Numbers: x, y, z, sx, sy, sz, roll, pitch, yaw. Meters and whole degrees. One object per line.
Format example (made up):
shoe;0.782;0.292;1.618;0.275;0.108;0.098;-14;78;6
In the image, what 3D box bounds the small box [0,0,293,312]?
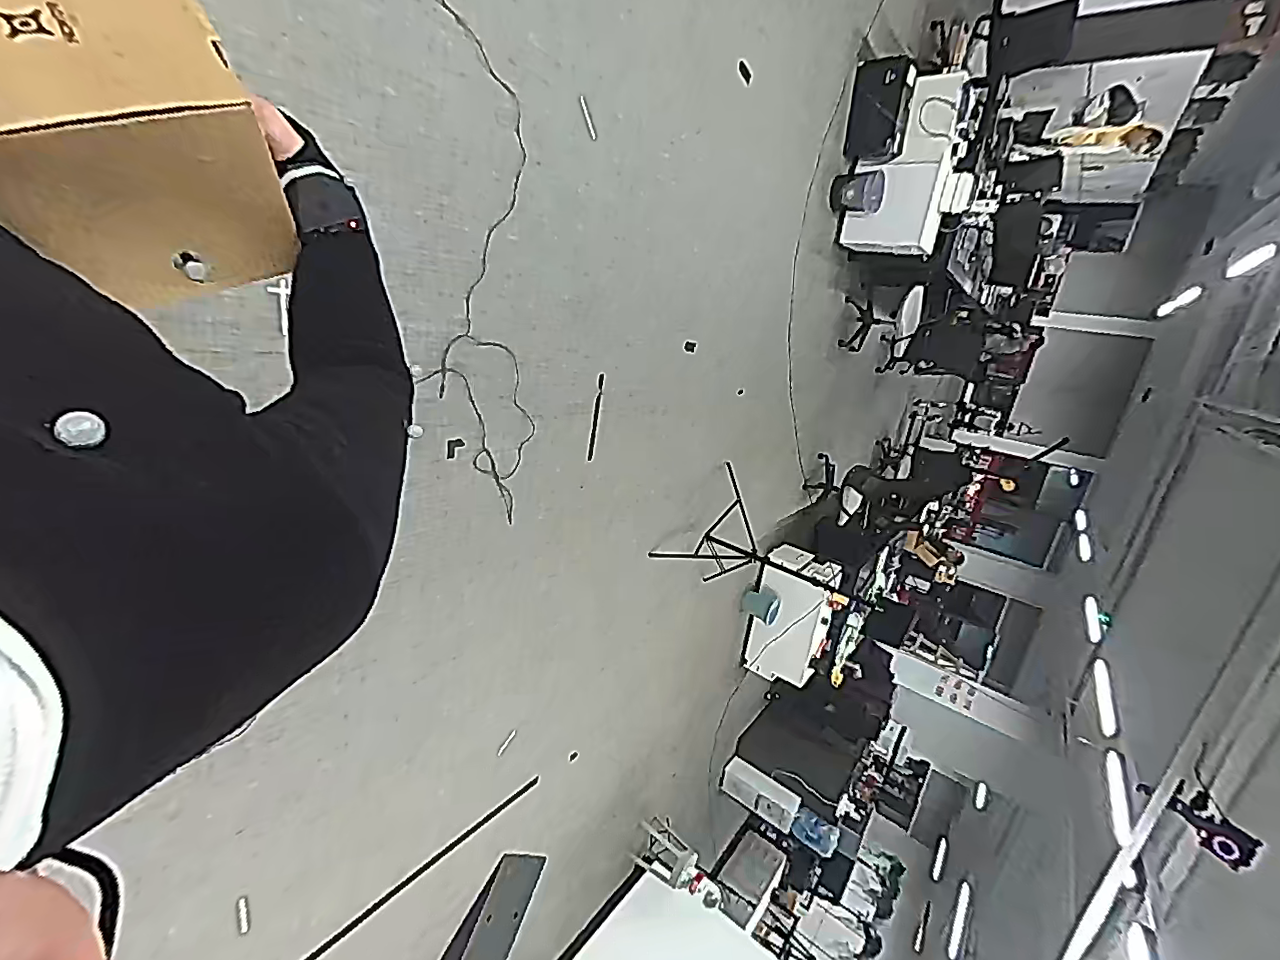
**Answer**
small box;-0.412;-0.269;0.436;0.179;0.168;0.176;-30;171;-27
